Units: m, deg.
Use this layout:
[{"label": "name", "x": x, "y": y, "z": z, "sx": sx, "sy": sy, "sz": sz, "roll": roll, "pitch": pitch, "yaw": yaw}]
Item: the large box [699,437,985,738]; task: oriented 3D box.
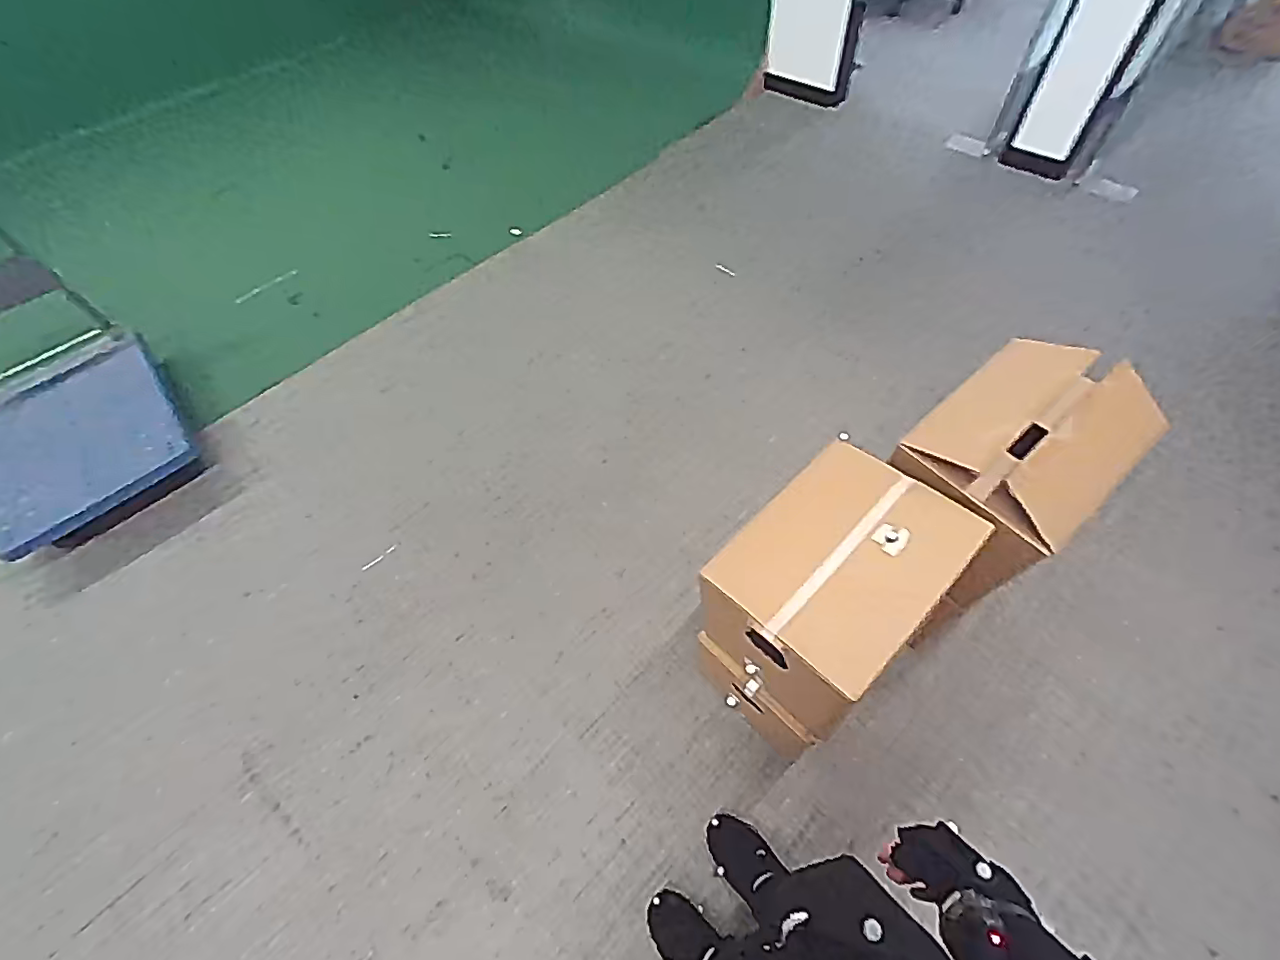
[{"label": "large box", "x": 0.362, "y": 0.202, "z": 1.038, "sx": 0.408, "sy": 0.320, "sz": 0.320, "roll": -40, "pitch": 58, "yaw": -19}]
